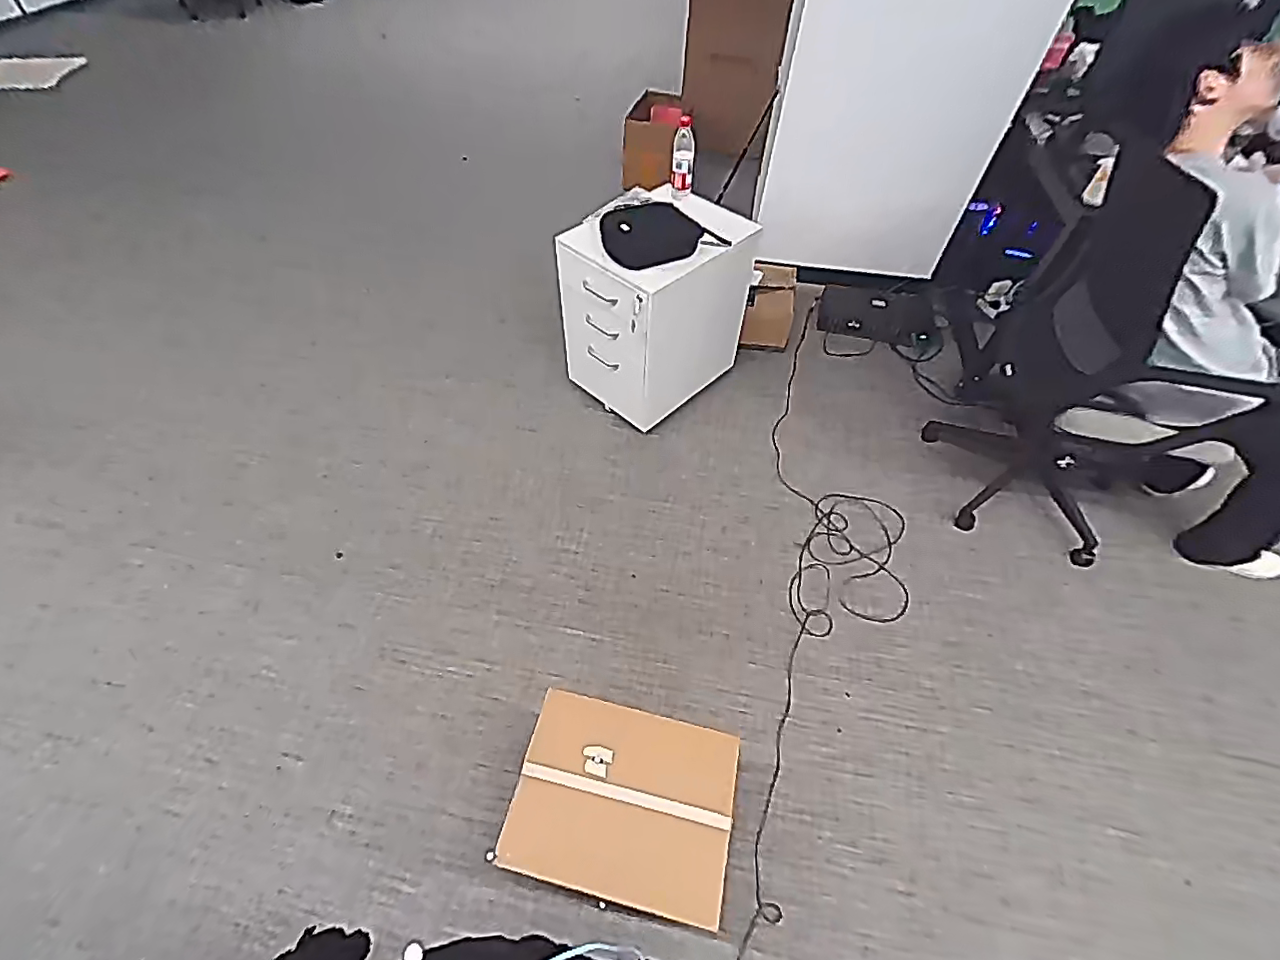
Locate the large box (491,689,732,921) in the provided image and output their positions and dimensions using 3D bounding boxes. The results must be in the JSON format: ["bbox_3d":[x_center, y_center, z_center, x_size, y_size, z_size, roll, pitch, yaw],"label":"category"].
[{"bbox_3d":[-0.041,0.679,1.141,0.408,0.320,0.320,12,53,7],"label":"large box"}]
